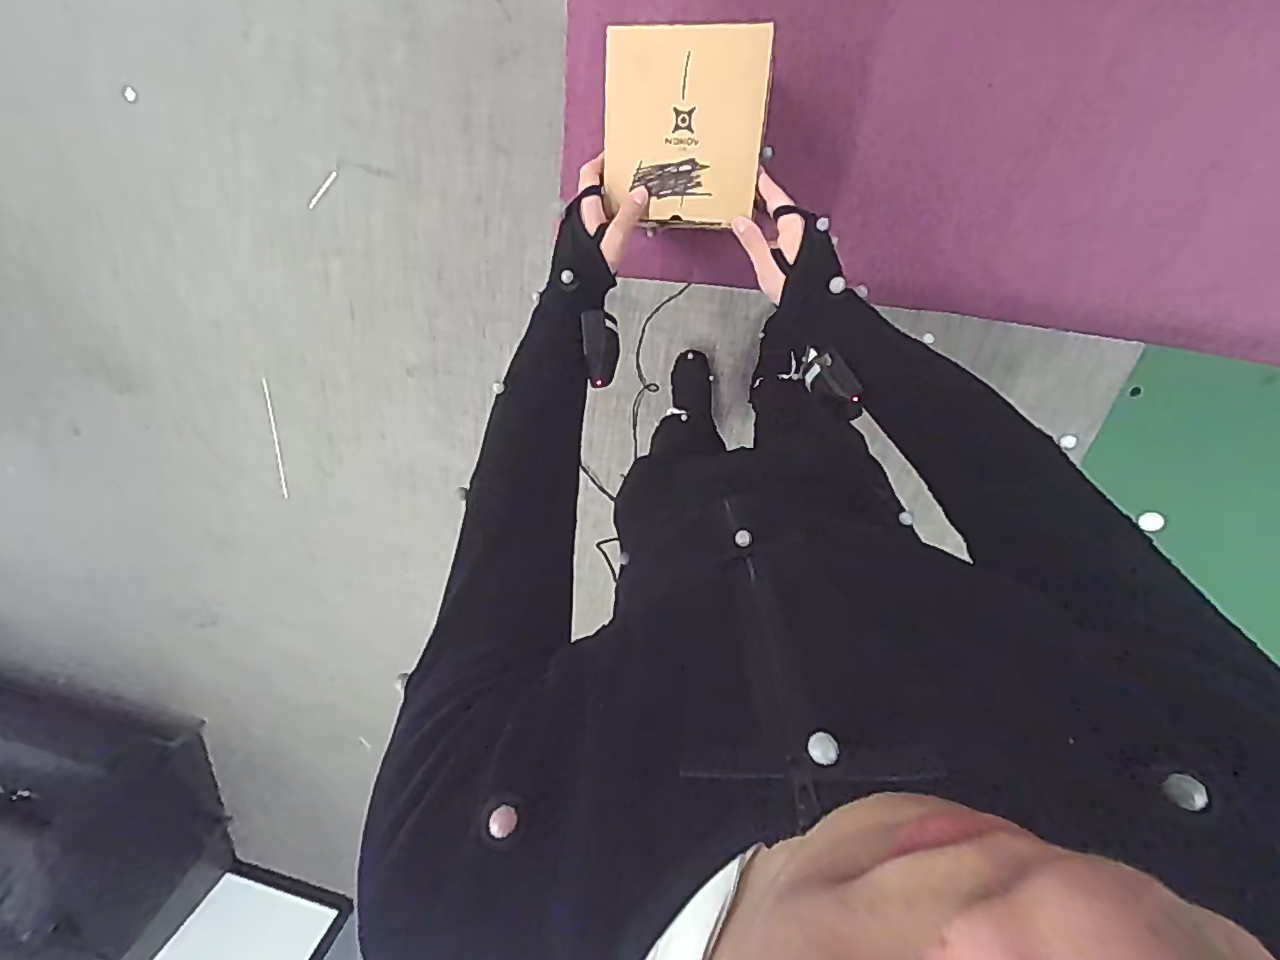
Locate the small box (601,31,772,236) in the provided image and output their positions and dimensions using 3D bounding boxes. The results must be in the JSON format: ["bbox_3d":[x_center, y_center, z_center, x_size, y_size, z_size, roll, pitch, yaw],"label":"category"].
[{"bbox_3d":[0.057,-0.383,0.626,0.168,0.176,0.179,7,113,9],"label":"small box"}]
